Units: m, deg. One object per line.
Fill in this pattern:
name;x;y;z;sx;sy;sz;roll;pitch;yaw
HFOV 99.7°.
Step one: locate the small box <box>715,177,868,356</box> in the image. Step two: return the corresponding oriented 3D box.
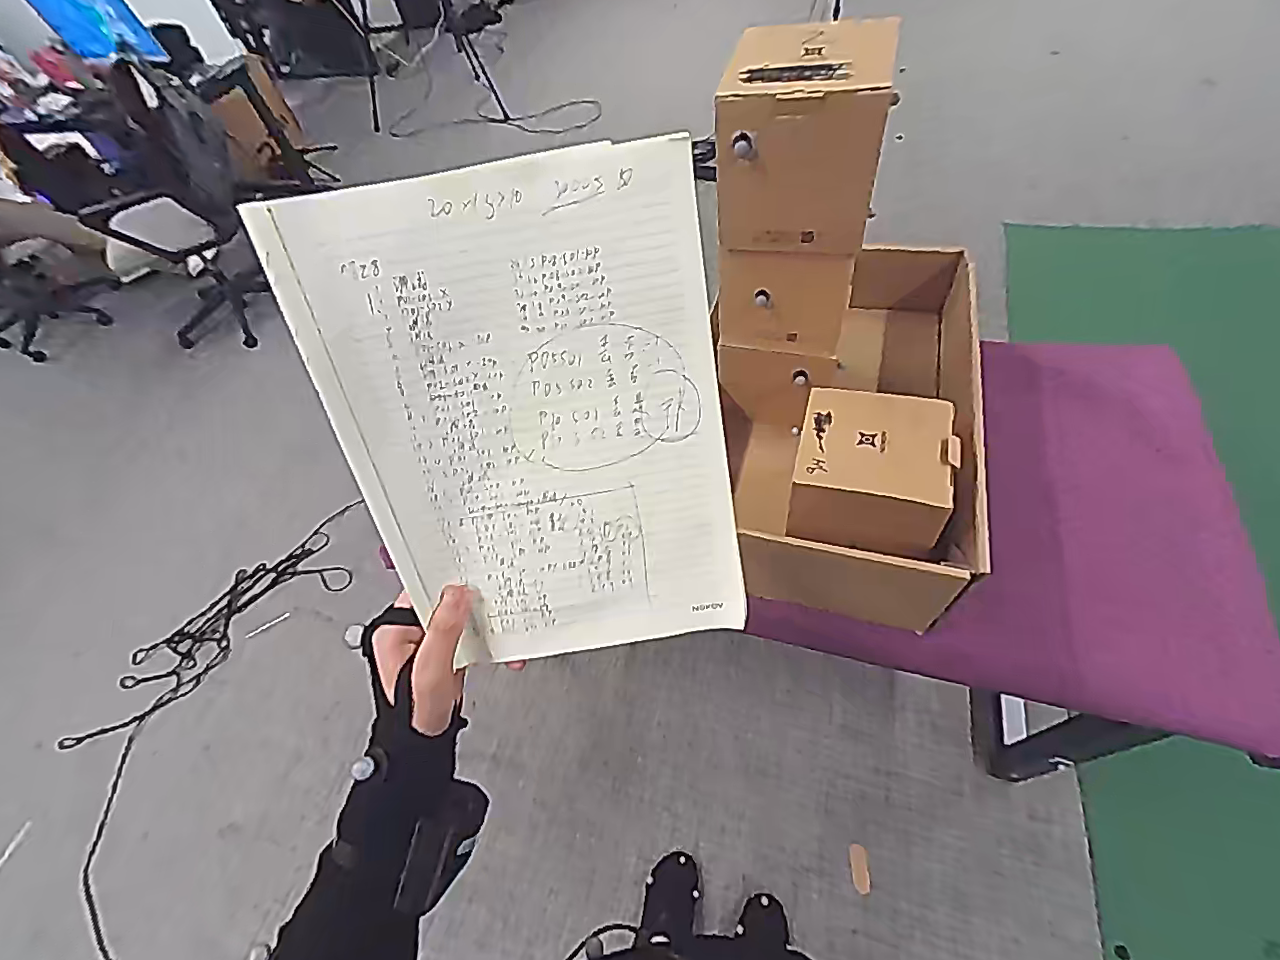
small box;0.211;-0.298;0.761;0.168;0.176;0.179;11;58;18
